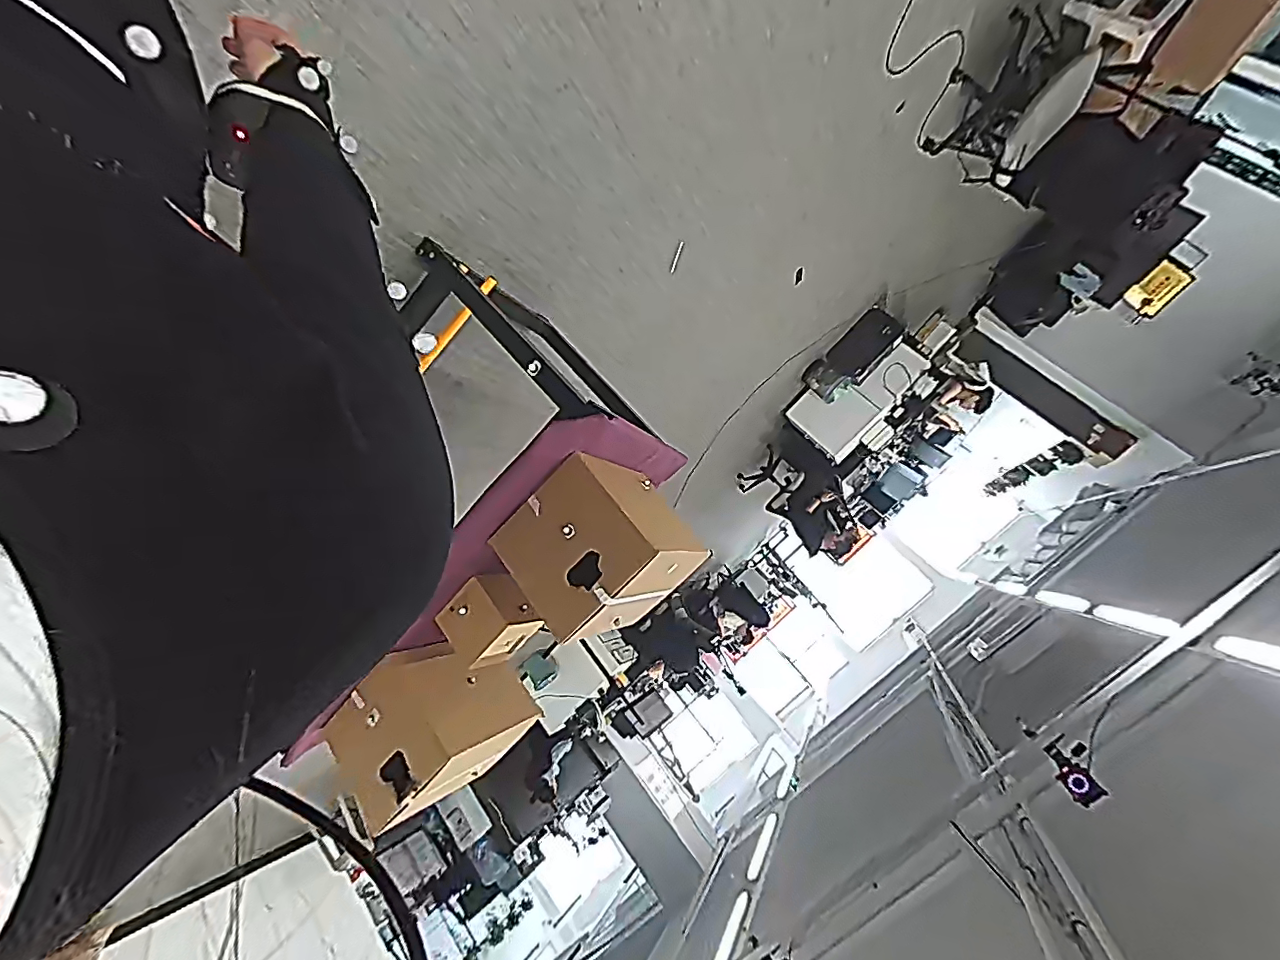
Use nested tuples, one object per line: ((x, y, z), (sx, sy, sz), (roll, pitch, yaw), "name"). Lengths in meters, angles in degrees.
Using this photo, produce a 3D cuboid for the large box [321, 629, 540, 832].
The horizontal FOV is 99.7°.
((-0.566, 0.657, 1.501), (0.320, 0.320, 0.408), (-46, 160, 11), "large box")
